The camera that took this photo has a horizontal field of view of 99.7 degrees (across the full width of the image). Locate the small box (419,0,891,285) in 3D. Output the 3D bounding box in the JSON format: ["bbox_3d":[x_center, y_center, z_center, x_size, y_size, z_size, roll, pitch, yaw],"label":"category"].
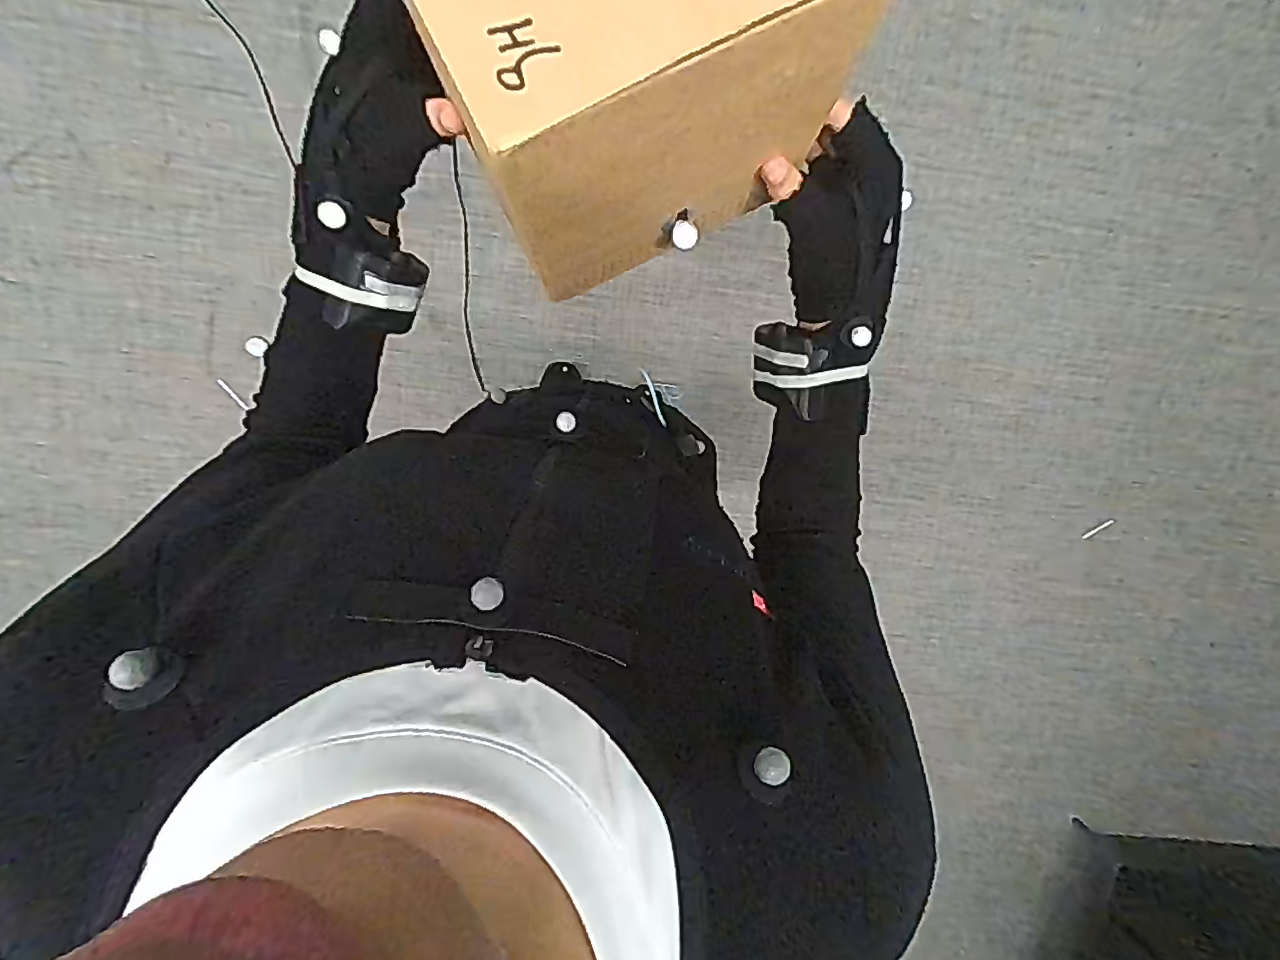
[{"bbox_3d":[-0.011,-0.234,0.282,0.179,0.176,0.168,-26,91,-2],"label":"small box"}]
